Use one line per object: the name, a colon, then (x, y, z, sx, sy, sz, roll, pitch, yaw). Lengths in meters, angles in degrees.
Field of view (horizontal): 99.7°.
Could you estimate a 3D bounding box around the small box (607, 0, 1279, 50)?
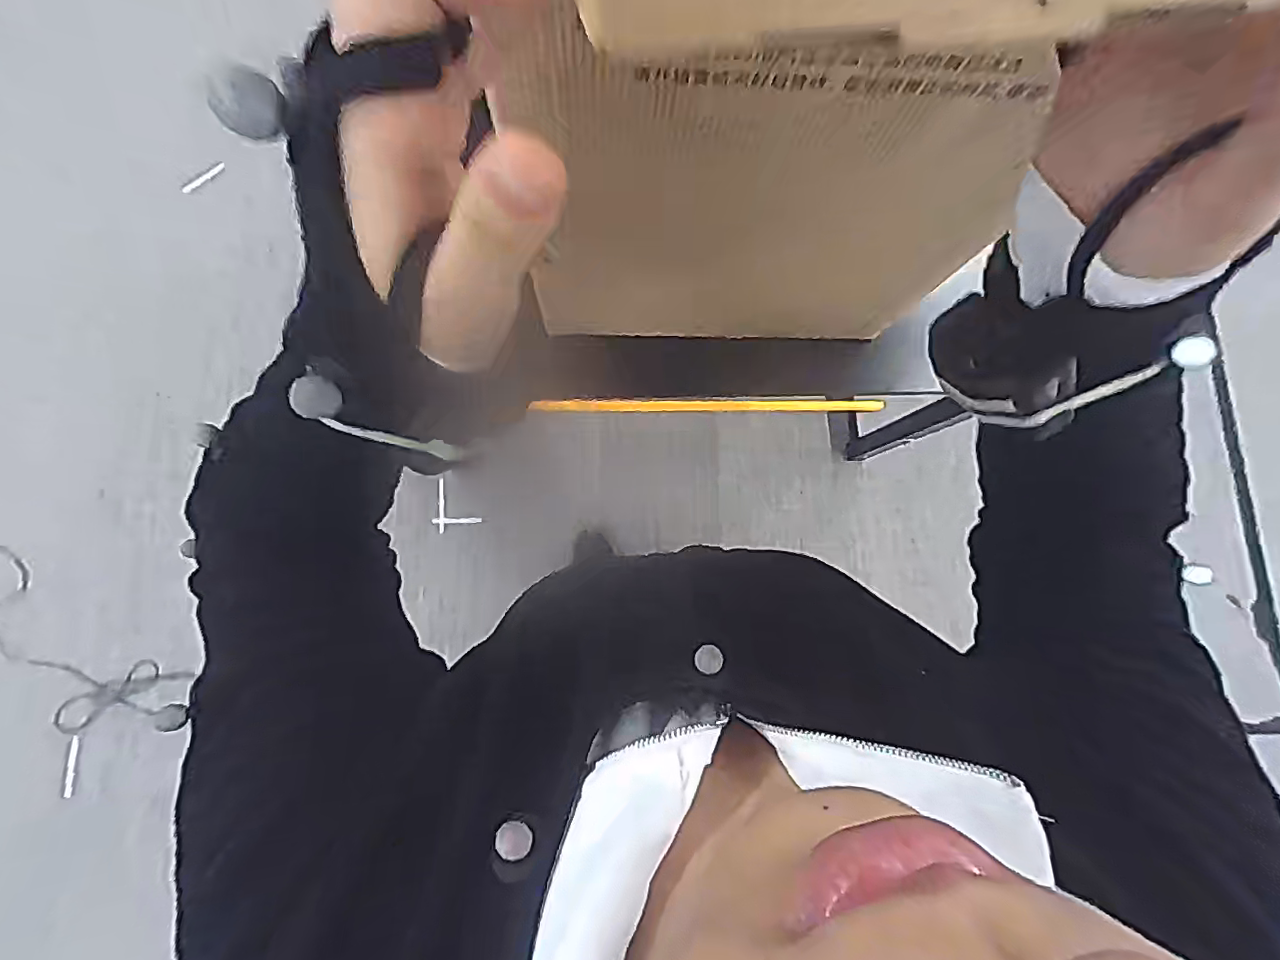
small box: (0.060, -0.205, 0.090, 0.168, 0.179, 0.176, -7, 51, -3)
